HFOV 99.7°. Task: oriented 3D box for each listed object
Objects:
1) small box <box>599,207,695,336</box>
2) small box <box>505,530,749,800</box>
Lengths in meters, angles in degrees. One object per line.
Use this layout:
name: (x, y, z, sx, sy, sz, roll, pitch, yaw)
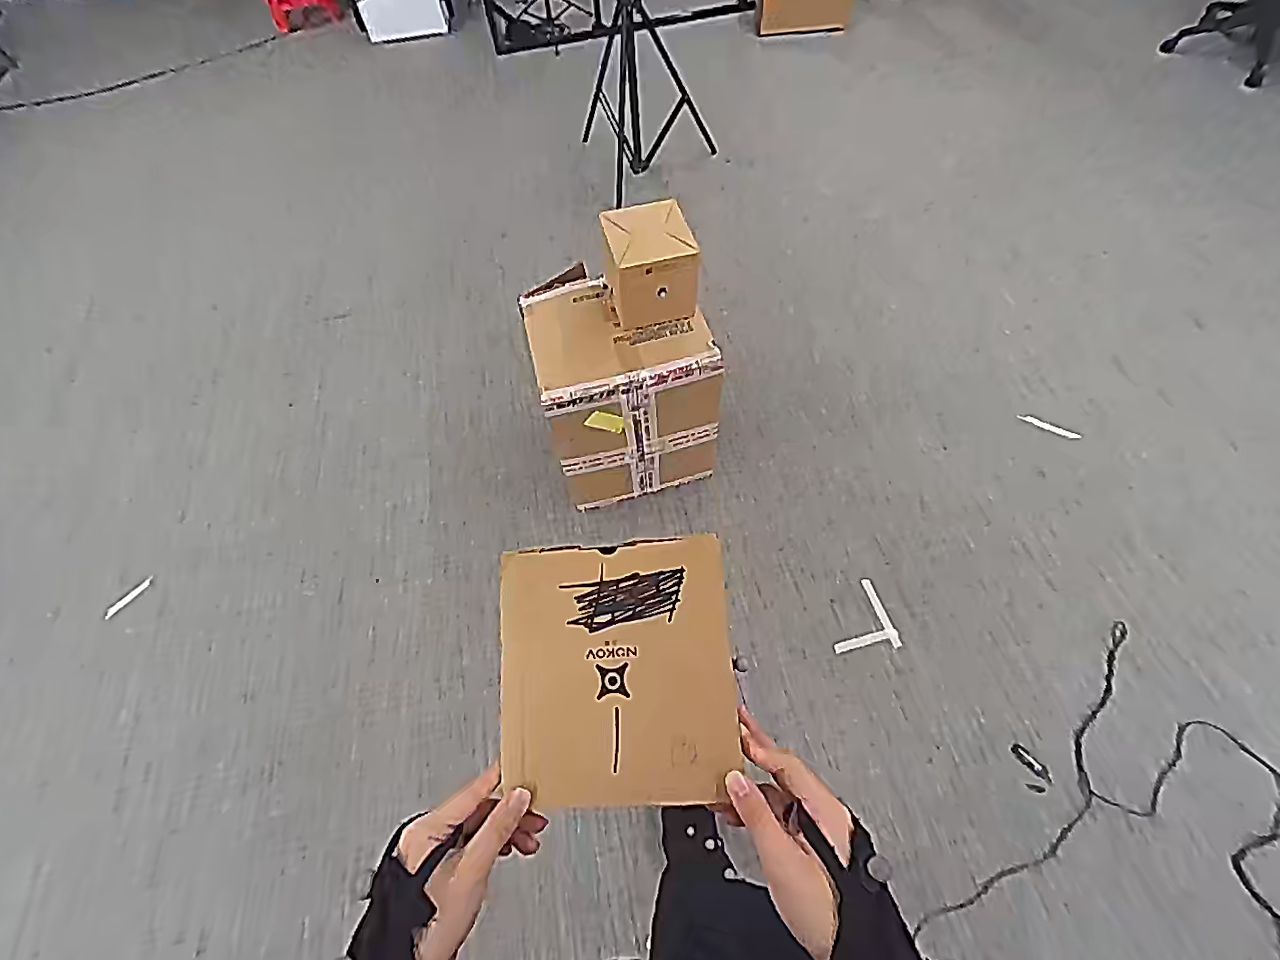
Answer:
small box: (0.014, -0.442, 1.148, 0.168, 0.176, 0.179, -14, 61, -7)
small box: (-0.005, 0.147, 0.456, 0.168, 0.176, 0.179, -6, 75, 6)
